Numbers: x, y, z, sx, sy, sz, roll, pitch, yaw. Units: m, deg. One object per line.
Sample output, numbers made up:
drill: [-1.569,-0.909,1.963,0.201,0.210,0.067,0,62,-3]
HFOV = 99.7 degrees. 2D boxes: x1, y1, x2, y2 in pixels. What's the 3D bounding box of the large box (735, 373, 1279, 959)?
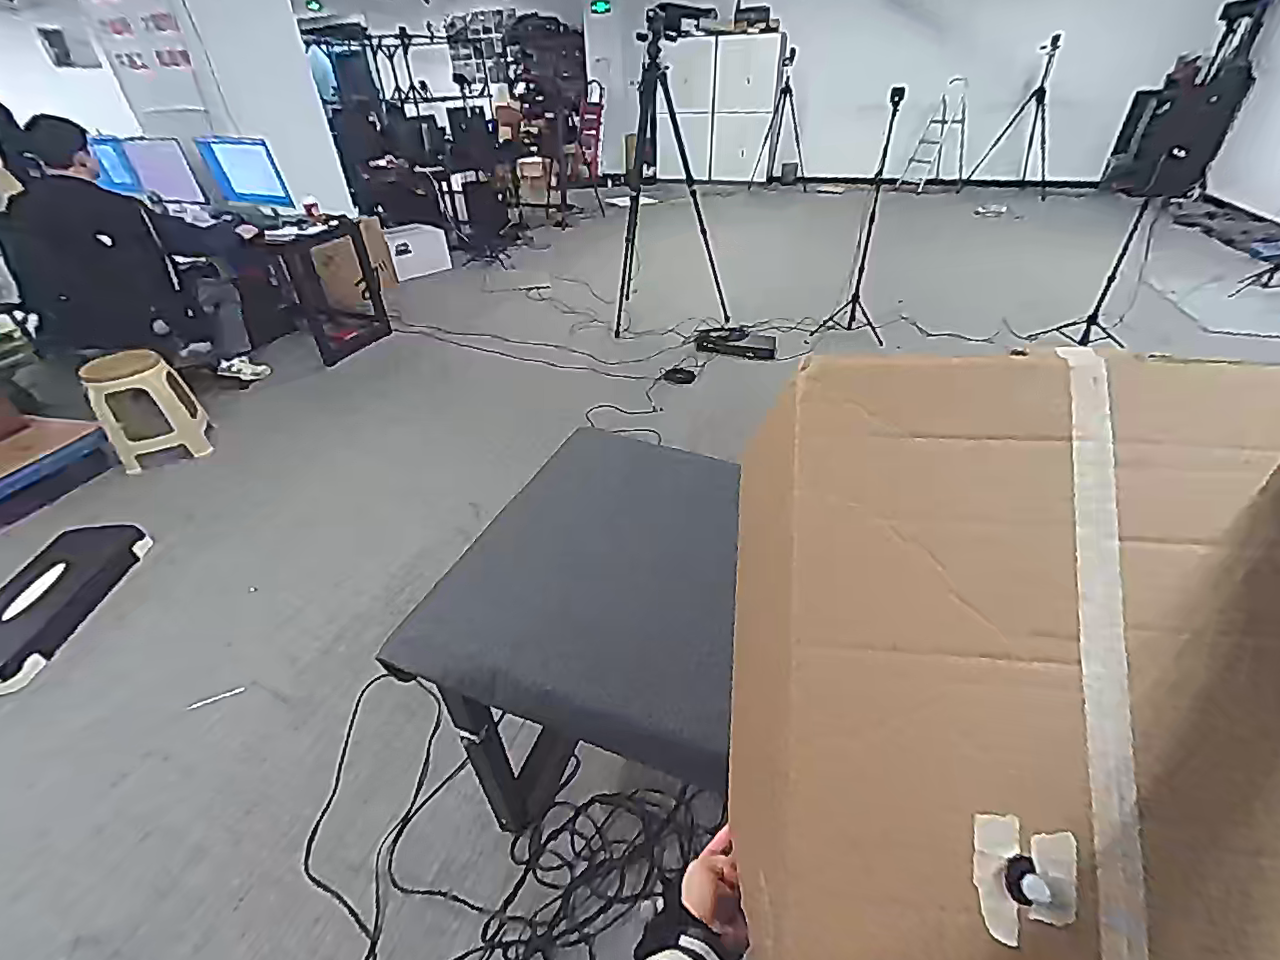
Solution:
large box: [0.252,0.149,0.443,0.320,0.408,0.320,2,-6,4]
